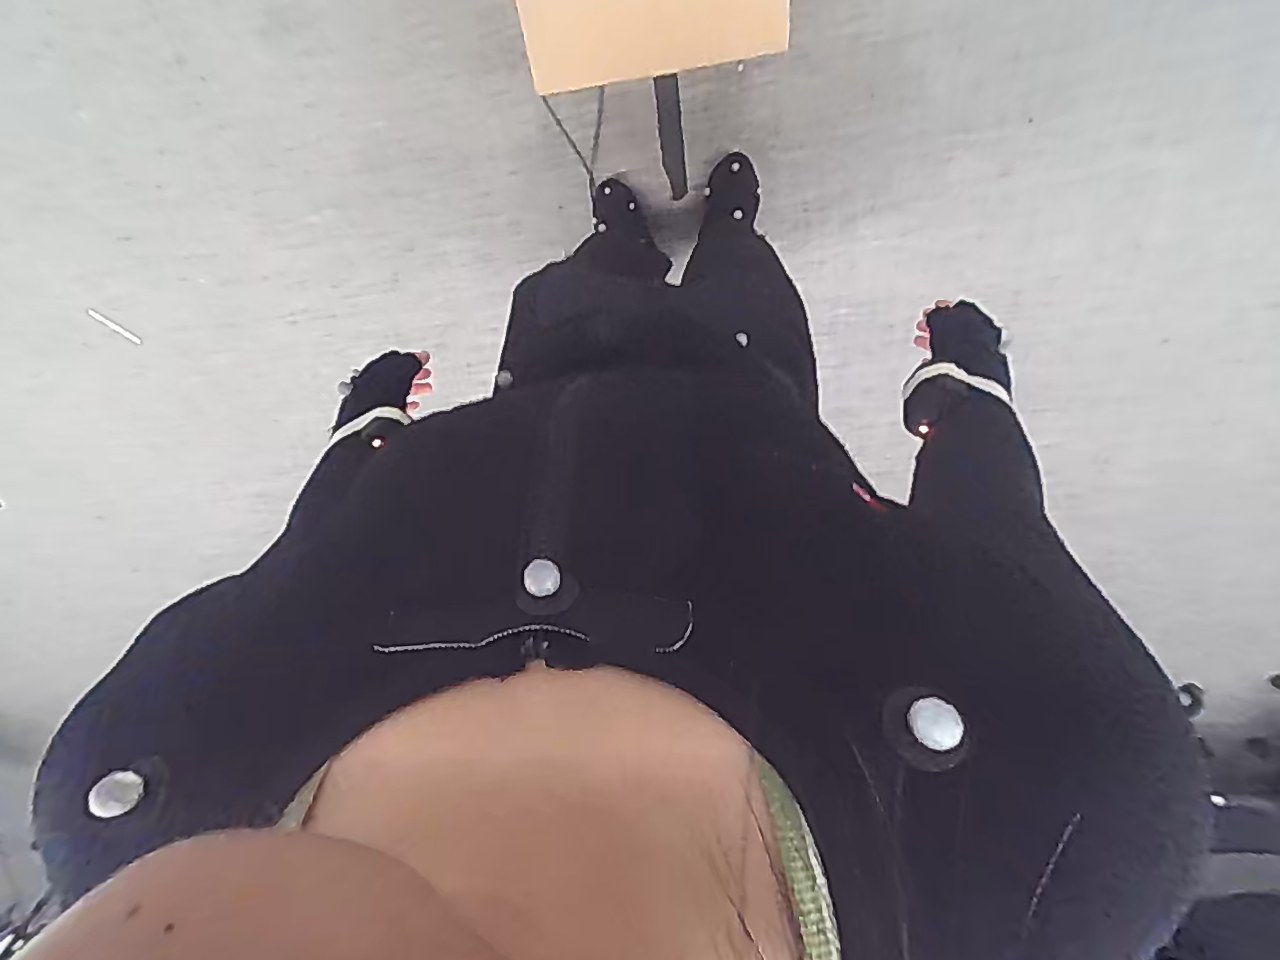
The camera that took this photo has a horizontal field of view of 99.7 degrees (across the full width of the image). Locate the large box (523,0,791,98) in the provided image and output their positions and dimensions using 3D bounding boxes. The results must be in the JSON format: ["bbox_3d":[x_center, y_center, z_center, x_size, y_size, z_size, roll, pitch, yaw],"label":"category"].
[{"bbox_3d":[0.025,-0.862,0.882,0.408,0.320,0.320,-4,128,9],"label":"large box"}]
